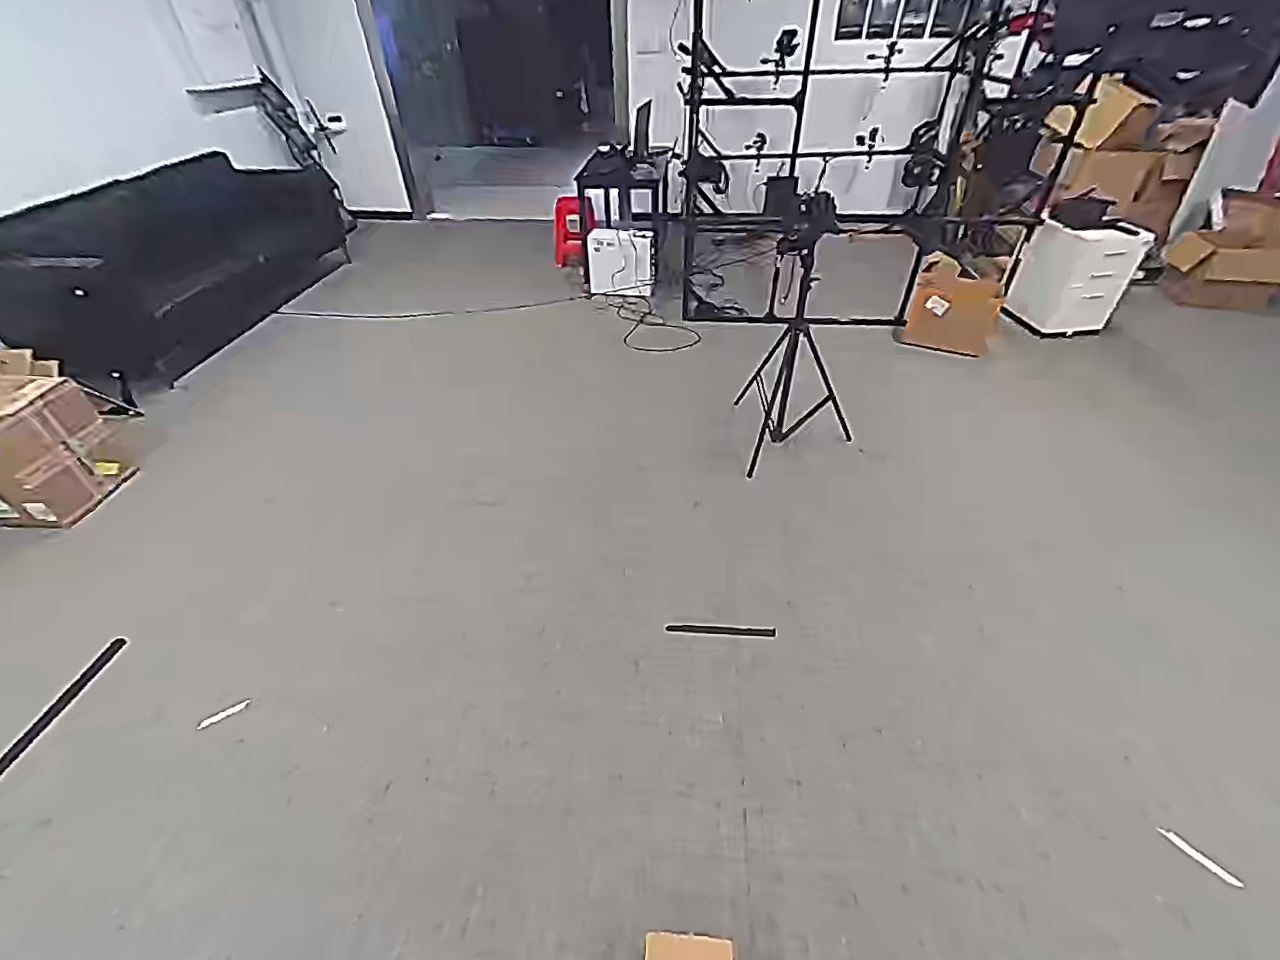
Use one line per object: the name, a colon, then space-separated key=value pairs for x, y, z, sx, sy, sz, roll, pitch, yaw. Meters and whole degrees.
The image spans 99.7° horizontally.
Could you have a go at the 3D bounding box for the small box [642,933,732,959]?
small box: x=0.089 y=1.026 z=1.067 sx=0.179 sy=0.176 sz=0.168 roll=1 pitch=39 yaw=4
